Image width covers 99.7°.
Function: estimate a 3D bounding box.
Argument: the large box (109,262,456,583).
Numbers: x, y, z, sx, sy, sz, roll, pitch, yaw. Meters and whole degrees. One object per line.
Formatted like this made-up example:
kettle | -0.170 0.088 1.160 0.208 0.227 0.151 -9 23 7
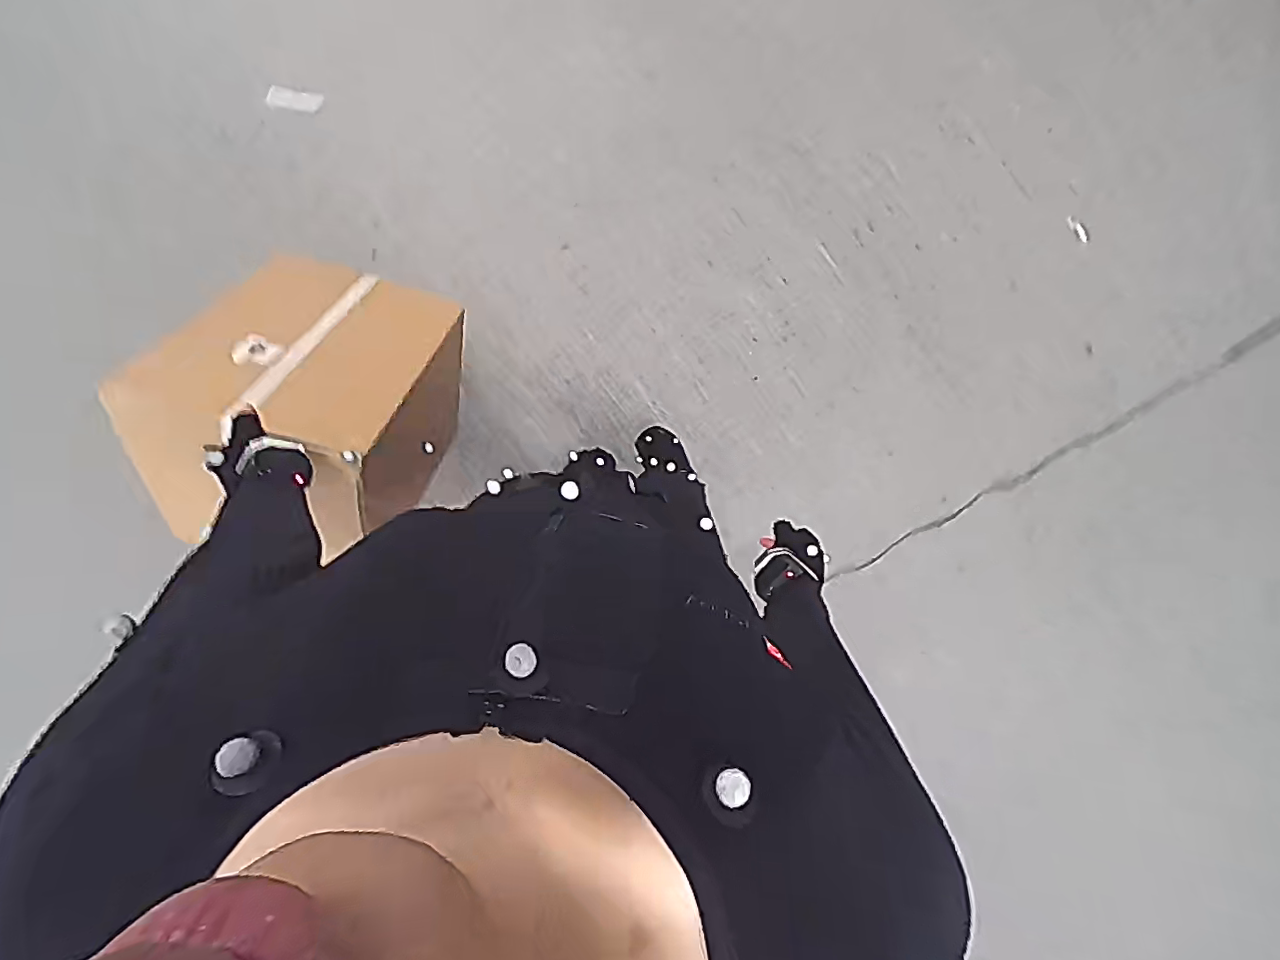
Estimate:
large box | -0.528 -0.098 0.918 0.320 0.408 0.320 14 136 -7
